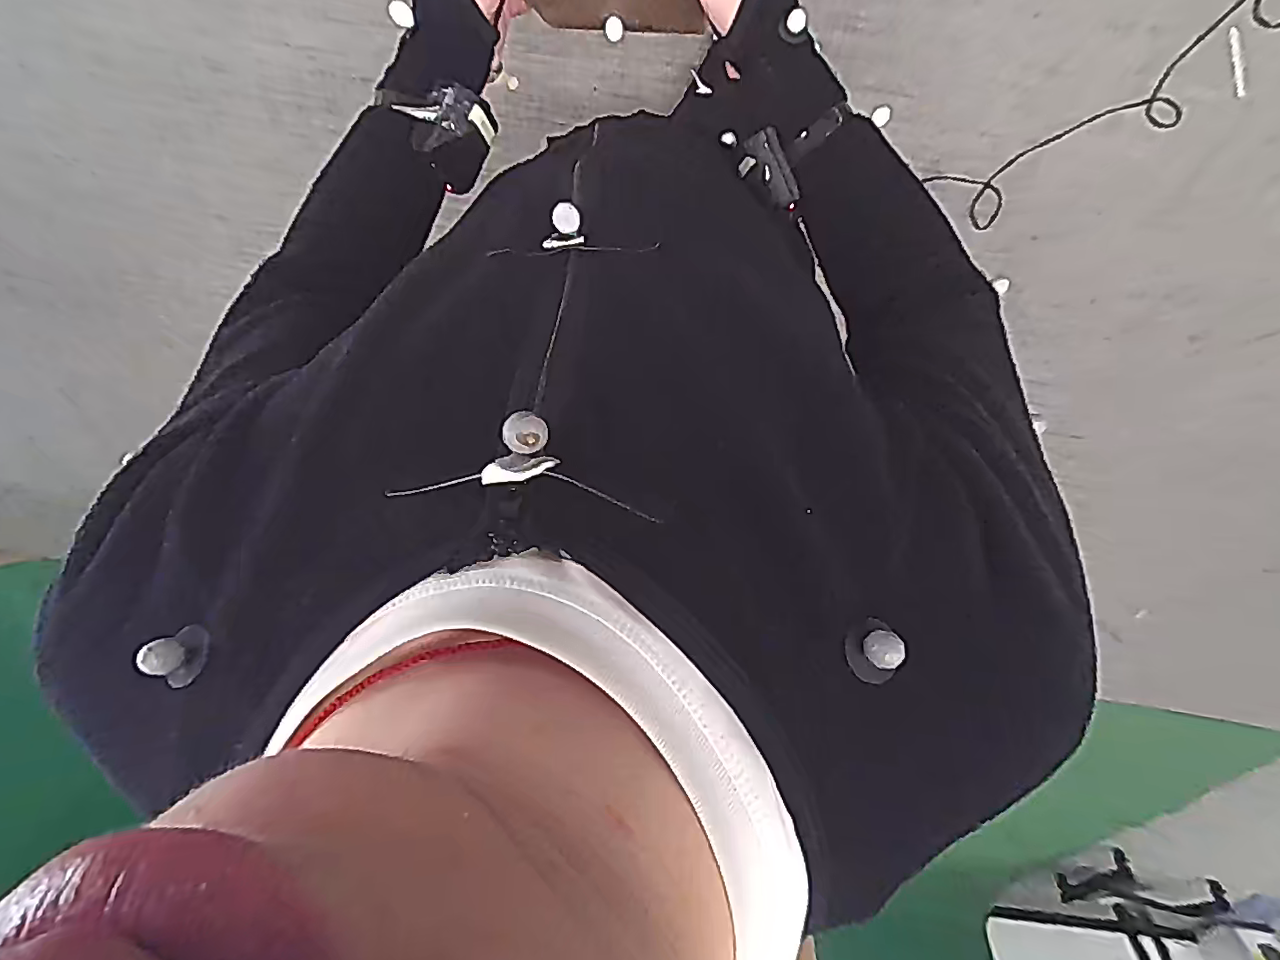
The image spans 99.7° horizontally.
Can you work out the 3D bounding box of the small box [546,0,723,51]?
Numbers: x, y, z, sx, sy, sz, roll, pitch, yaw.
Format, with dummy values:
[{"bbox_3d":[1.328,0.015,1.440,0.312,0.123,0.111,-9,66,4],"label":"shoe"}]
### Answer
[{"bbox_3d":[-0.002,-0.486,0.437,0.168,0.176,0.179,8,116,3],"label":"small box"}]
